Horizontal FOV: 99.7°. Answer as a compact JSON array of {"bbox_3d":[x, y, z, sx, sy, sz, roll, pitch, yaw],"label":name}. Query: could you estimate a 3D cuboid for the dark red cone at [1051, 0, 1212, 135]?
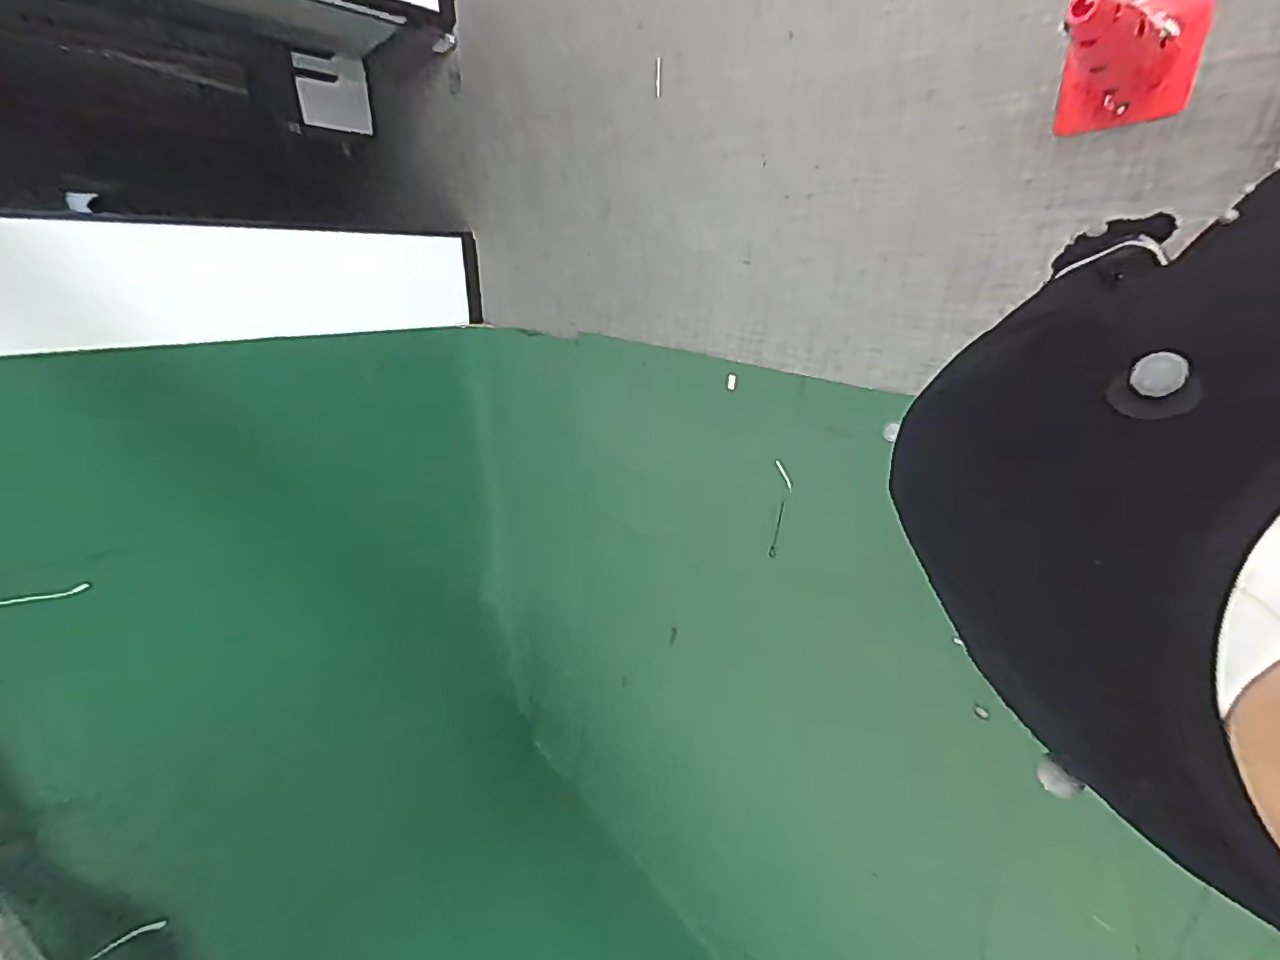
[{"bbox_3d":[0.772,-0.723,0.892,0.202,0.394,0.201,17,118,46],"label":"dark red cone"}]
